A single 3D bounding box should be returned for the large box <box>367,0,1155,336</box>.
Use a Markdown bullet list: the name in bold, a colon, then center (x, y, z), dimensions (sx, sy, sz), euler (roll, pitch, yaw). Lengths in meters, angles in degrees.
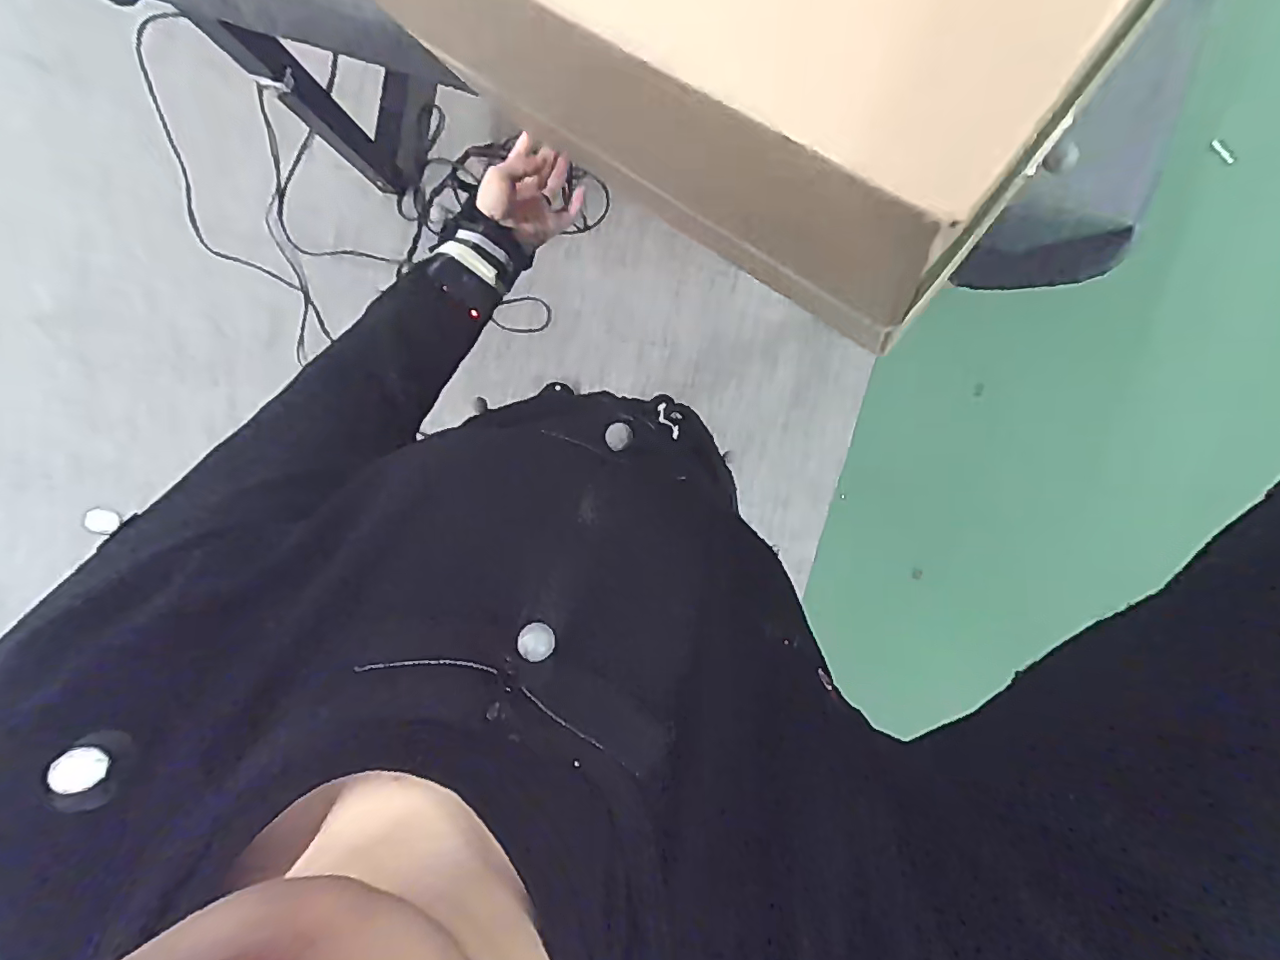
- **large box**: center (0.071, -0.327, 0.306), dimensions (0.408, 0.320, 0.320), euler (36, 106, 13)
